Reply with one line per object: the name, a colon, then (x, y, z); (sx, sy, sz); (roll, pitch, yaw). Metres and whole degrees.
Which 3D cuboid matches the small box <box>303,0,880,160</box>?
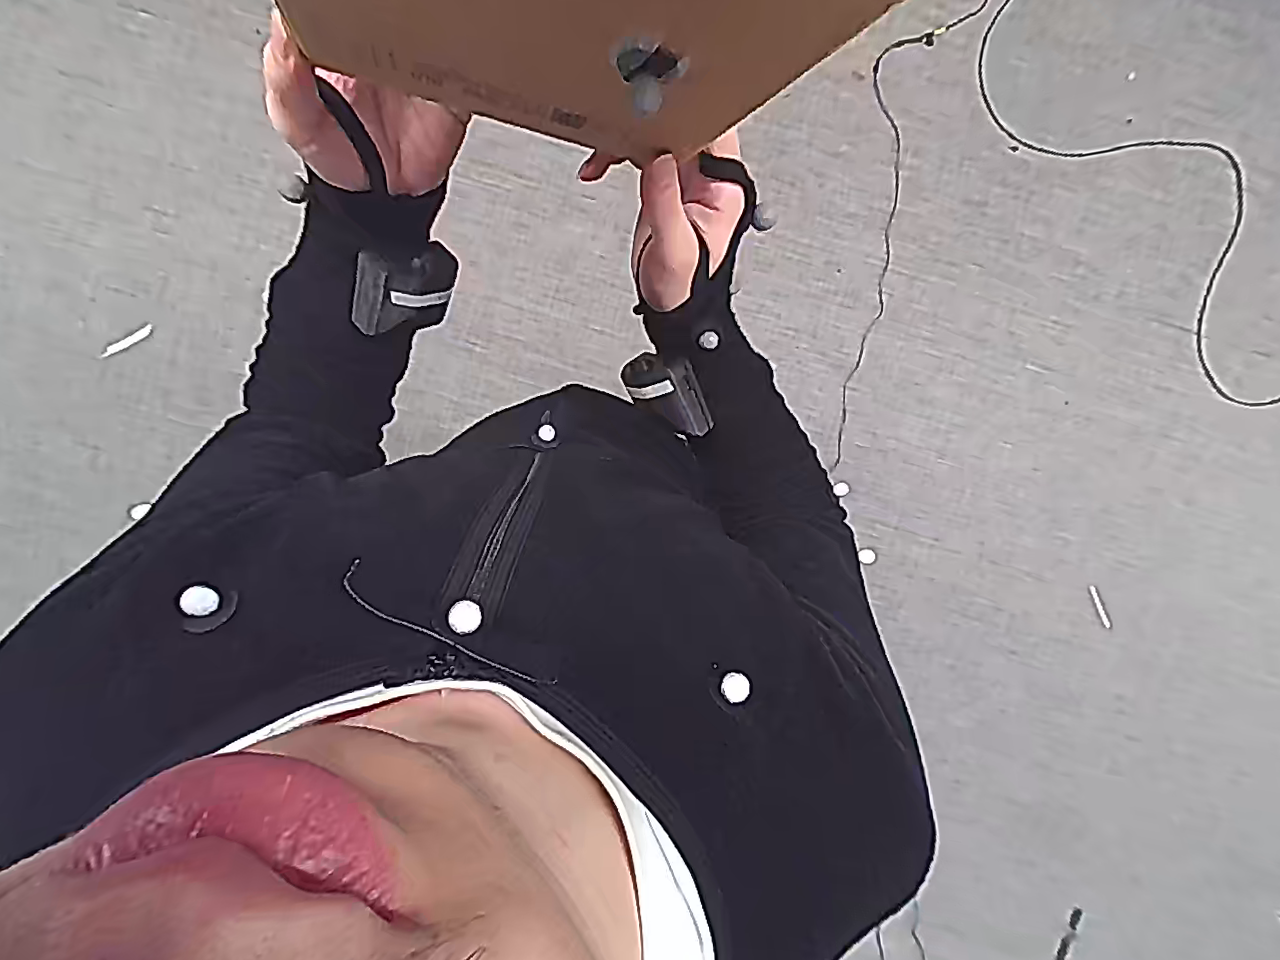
small box: (-0.022, -0.232, 0.169); (0.168, 0.176, 0.179); (4, 102, -22)
